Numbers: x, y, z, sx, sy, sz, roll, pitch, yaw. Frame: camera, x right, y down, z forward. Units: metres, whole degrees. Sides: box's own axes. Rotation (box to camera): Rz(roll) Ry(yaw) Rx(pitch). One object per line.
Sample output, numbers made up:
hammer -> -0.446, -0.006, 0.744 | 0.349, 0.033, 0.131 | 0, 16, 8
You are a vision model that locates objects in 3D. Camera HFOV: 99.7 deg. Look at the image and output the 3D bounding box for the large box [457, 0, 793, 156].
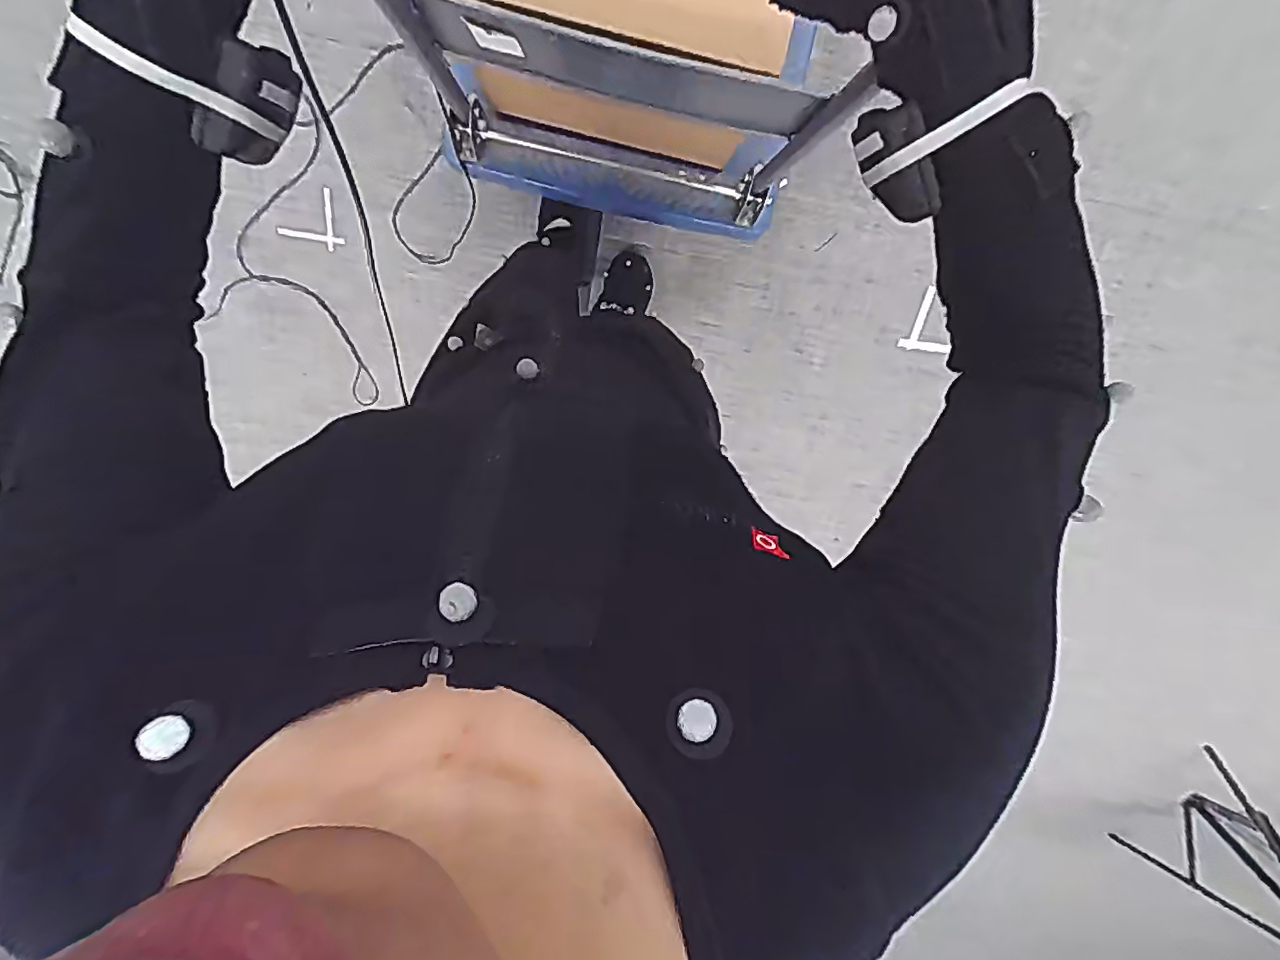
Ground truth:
large box -> -0.012, -0.707, 0.746 | 0.408, 0.320, 0.320 | 10, 102, -7
